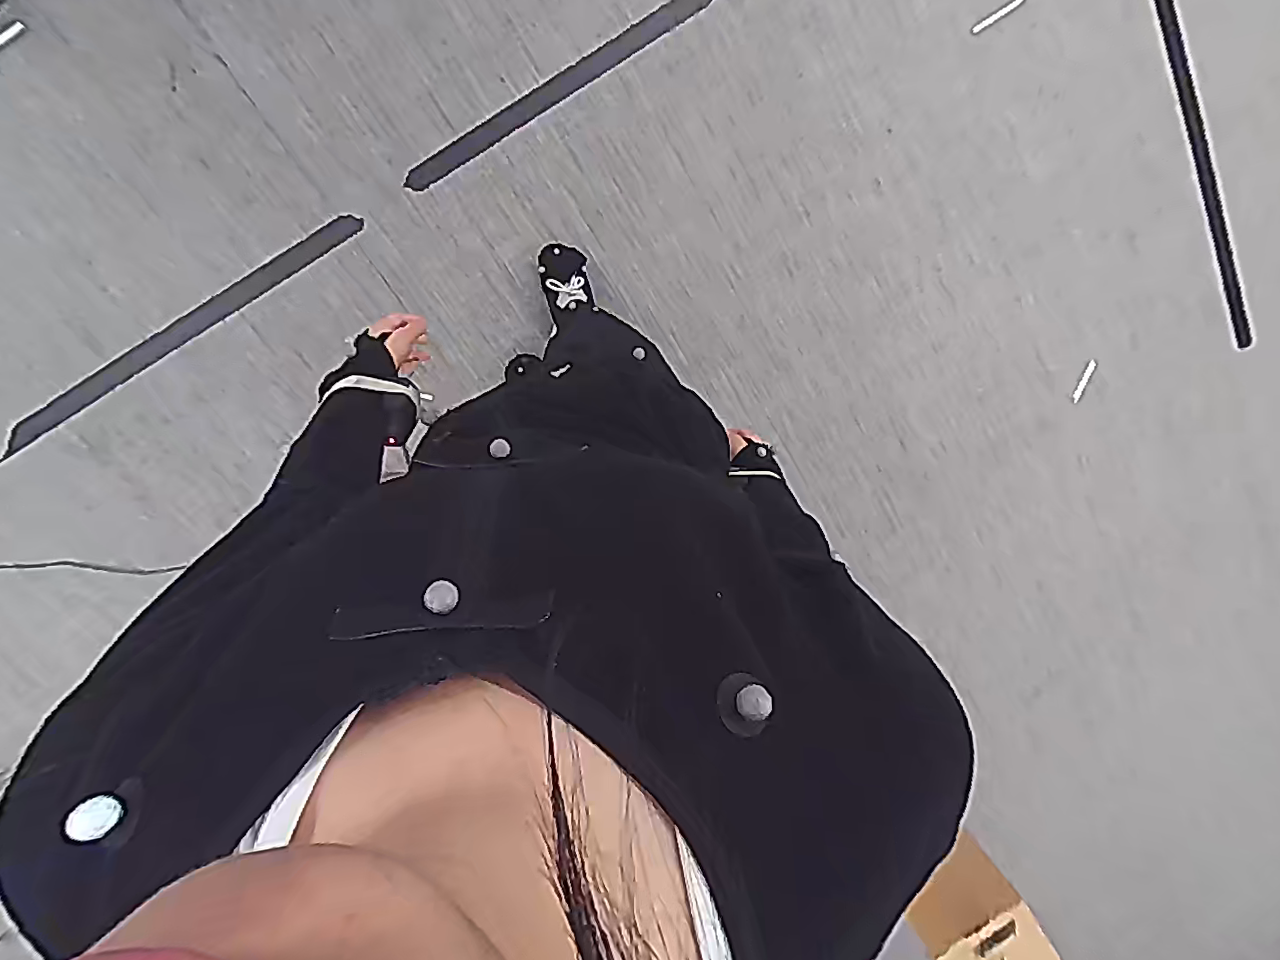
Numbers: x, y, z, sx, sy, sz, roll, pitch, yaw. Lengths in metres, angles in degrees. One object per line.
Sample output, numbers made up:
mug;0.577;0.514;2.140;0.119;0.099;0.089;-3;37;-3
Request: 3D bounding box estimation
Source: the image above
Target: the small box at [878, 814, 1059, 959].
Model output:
small box;0.538;0.707;0.909;0.168;0.176;0.179;-34;107;2
